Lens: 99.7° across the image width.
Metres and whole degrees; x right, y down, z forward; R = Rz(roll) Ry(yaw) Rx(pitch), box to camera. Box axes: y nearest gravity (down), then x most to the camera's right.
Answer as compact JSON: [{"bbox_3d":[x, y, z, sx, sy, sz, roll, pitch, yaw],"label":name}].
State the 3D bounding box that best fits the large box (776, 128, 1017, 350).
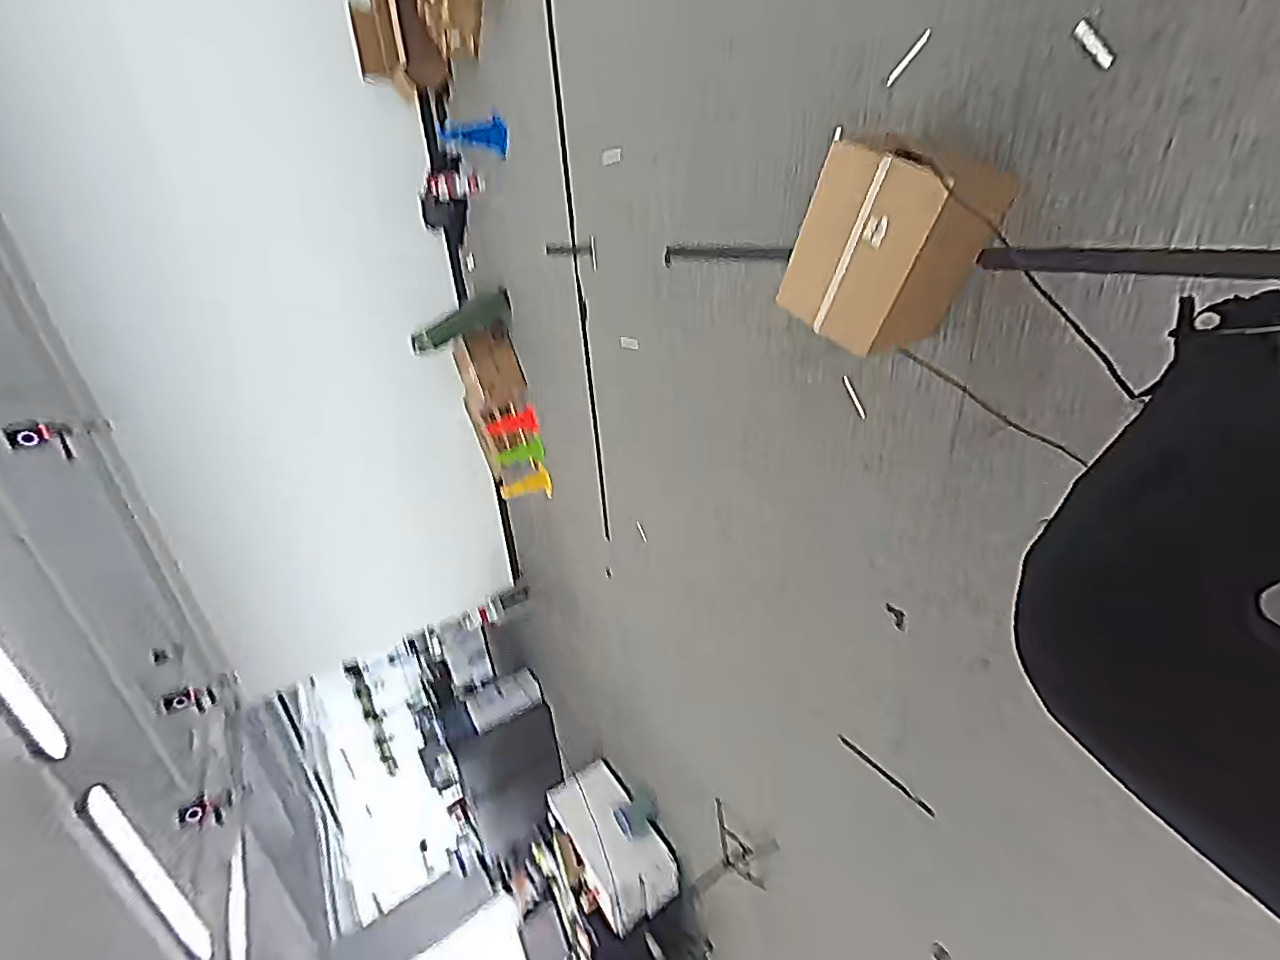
[{"bbox_3d":[0.609,-0.591,1.337,0.320,0.320,0.408,48,142,31],"label":"large box"}]
